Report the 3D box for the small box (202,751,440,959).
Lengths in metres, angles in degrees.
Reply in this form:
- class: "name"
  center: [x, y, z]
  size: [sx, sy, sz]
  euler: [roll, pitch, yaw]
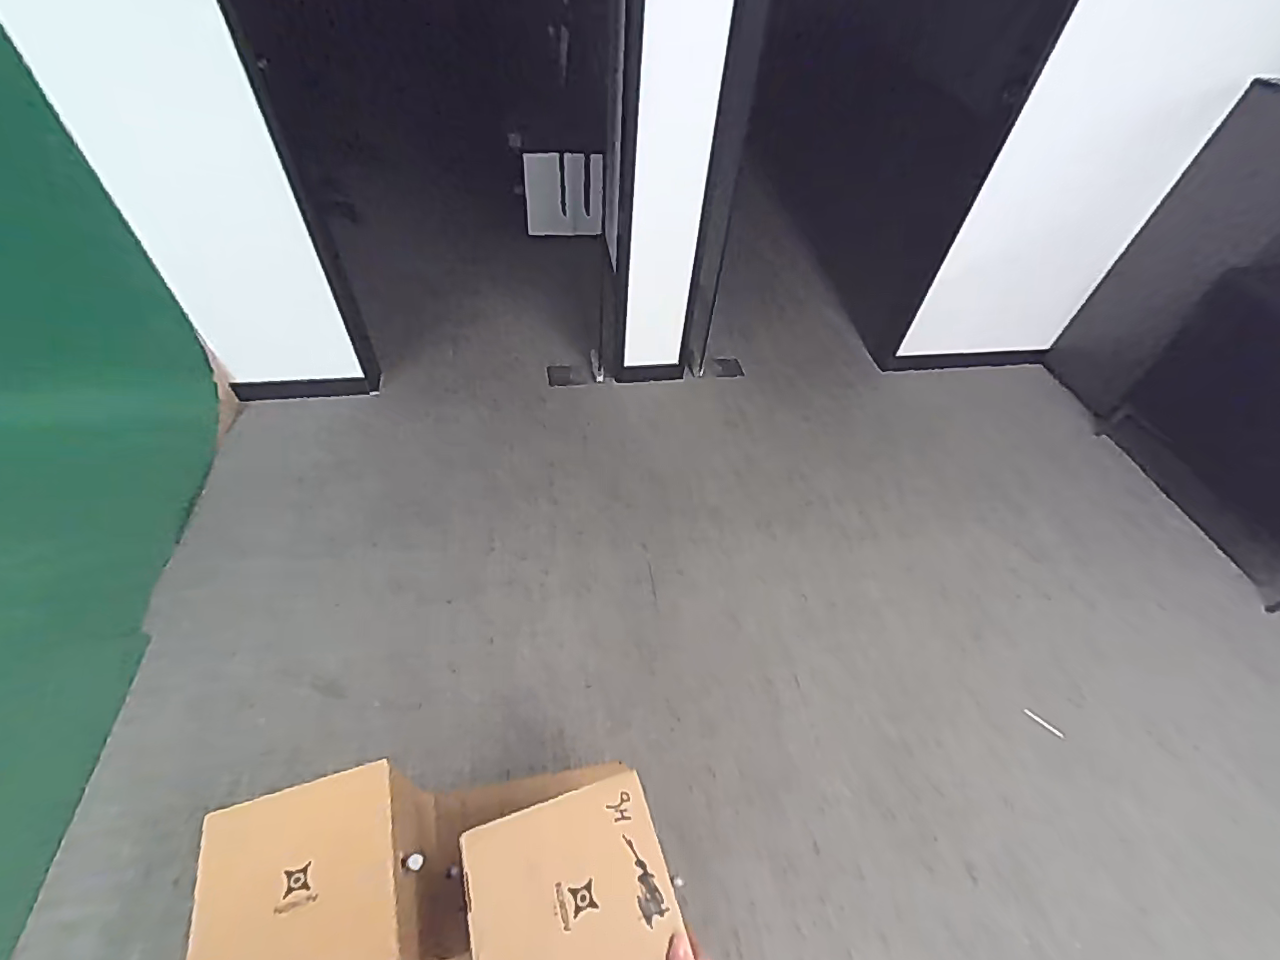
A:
- class: "small box"
  center: [-0.313, 0.416, 0.562]
  size: [0.168, 0.176, 0.179]
  euler: [-11, 53, -16]
